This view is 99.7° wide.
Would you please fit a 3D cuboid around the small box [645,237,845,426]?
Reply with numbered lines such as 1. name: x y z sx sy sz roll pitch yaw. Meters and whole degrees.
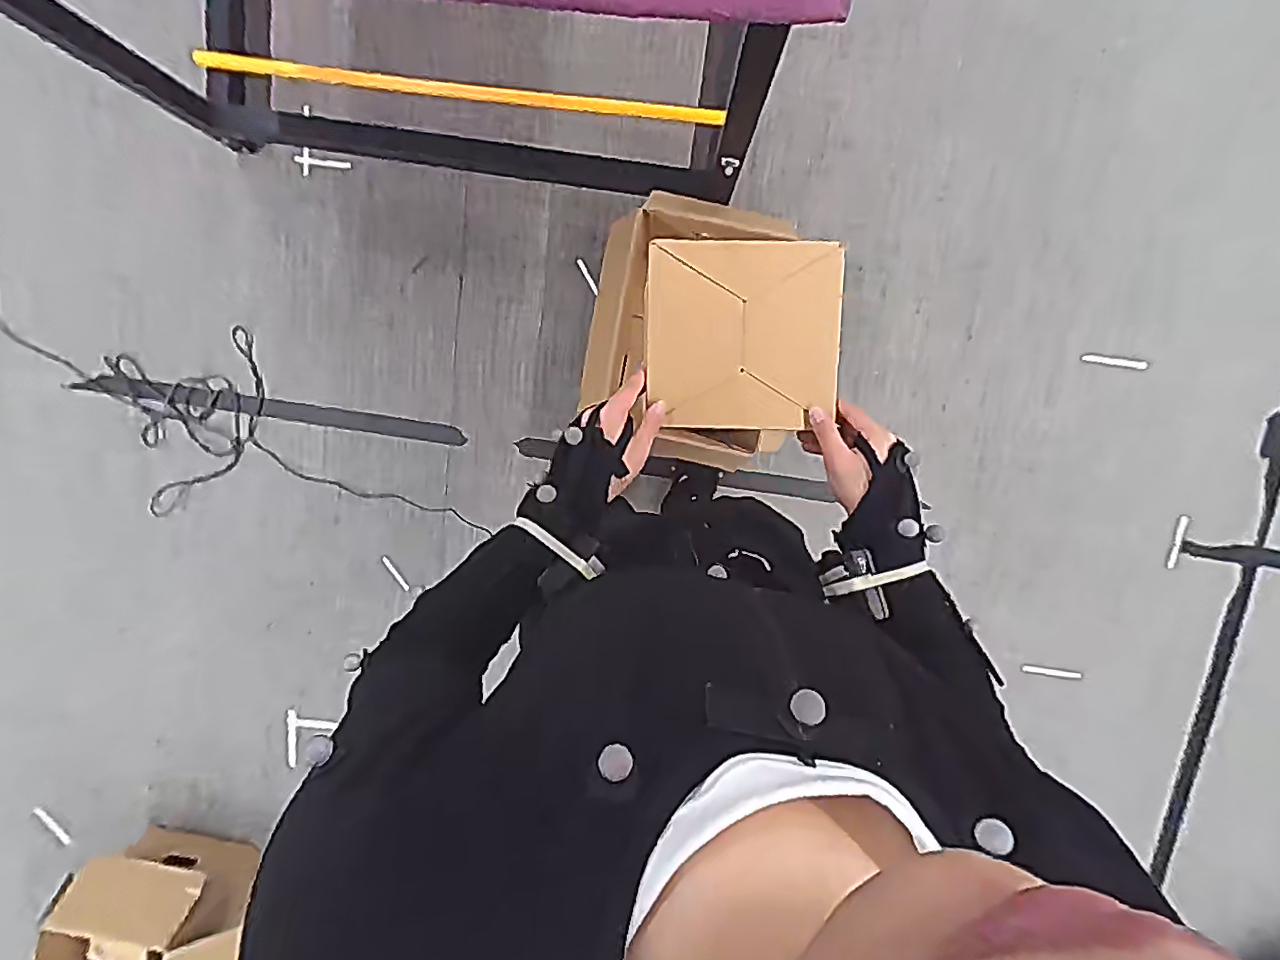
1. small box: 0.095 -0.141 0.564 0.179 0.176 0.168 1 95 0
